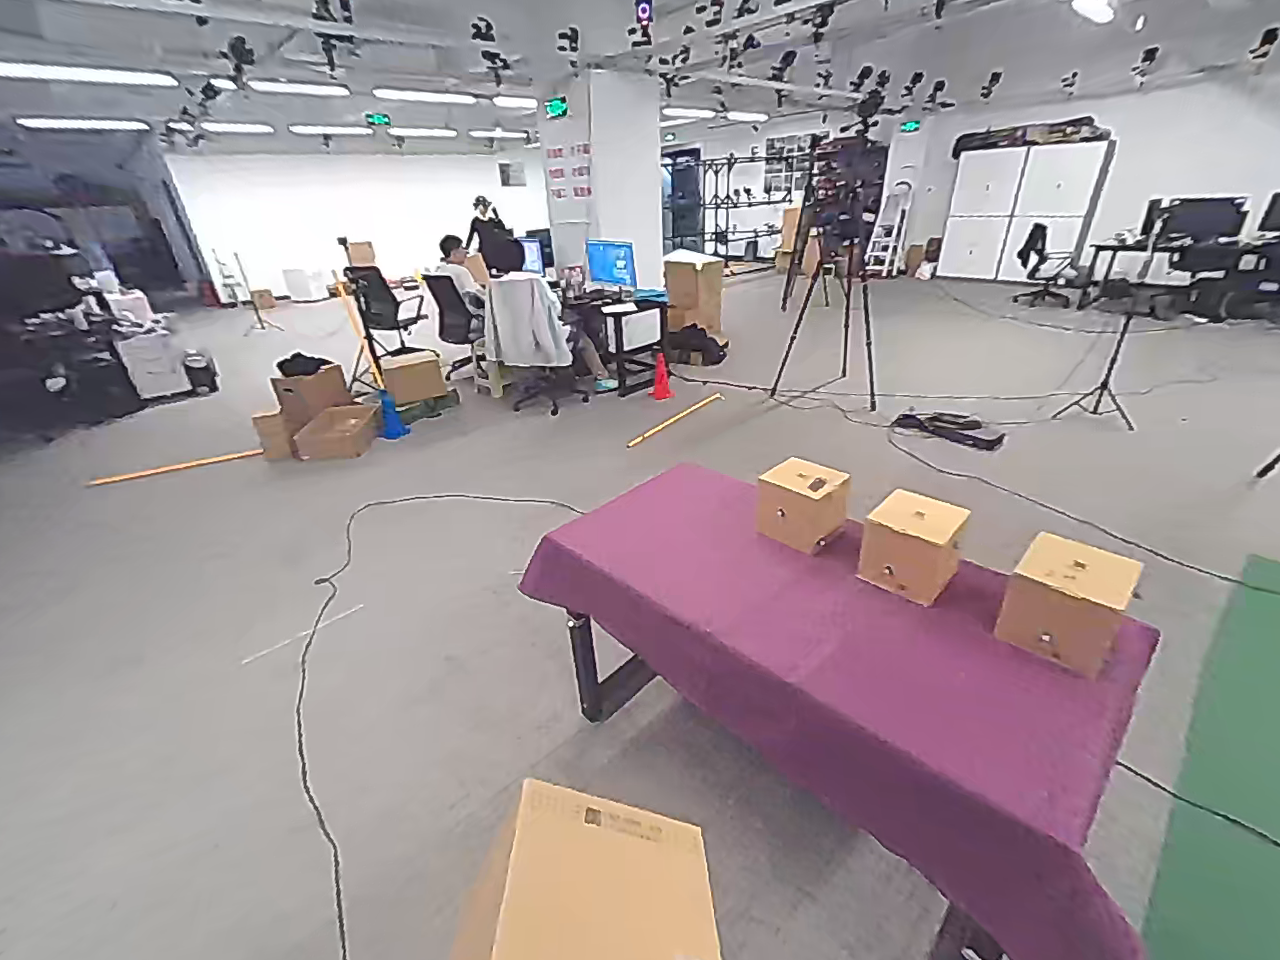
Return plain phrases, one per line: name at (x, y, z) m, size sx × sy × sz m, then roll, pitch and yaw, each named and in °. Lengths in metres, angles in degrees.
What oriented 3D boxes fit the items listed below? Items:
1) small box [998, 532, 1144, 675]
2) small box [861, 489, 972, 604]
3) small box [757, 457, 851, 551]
small box at (0.821, 0.233, 1.042) m, size 0.179 × 0.176 × 0.168 m, roll -29°, pitch 36°, yaw -34°
small box at (0.625, 0.149, 1.238) m, size 0.179 × 0.176 × 0.168 m, roll -29°, pitch 36°, yaw -36°
small box at (0.425, 0.065, 1.417) m, size 0.168 × 0.176 × 0.179 m, roll -26°, pitch 34°, yaw -36°
